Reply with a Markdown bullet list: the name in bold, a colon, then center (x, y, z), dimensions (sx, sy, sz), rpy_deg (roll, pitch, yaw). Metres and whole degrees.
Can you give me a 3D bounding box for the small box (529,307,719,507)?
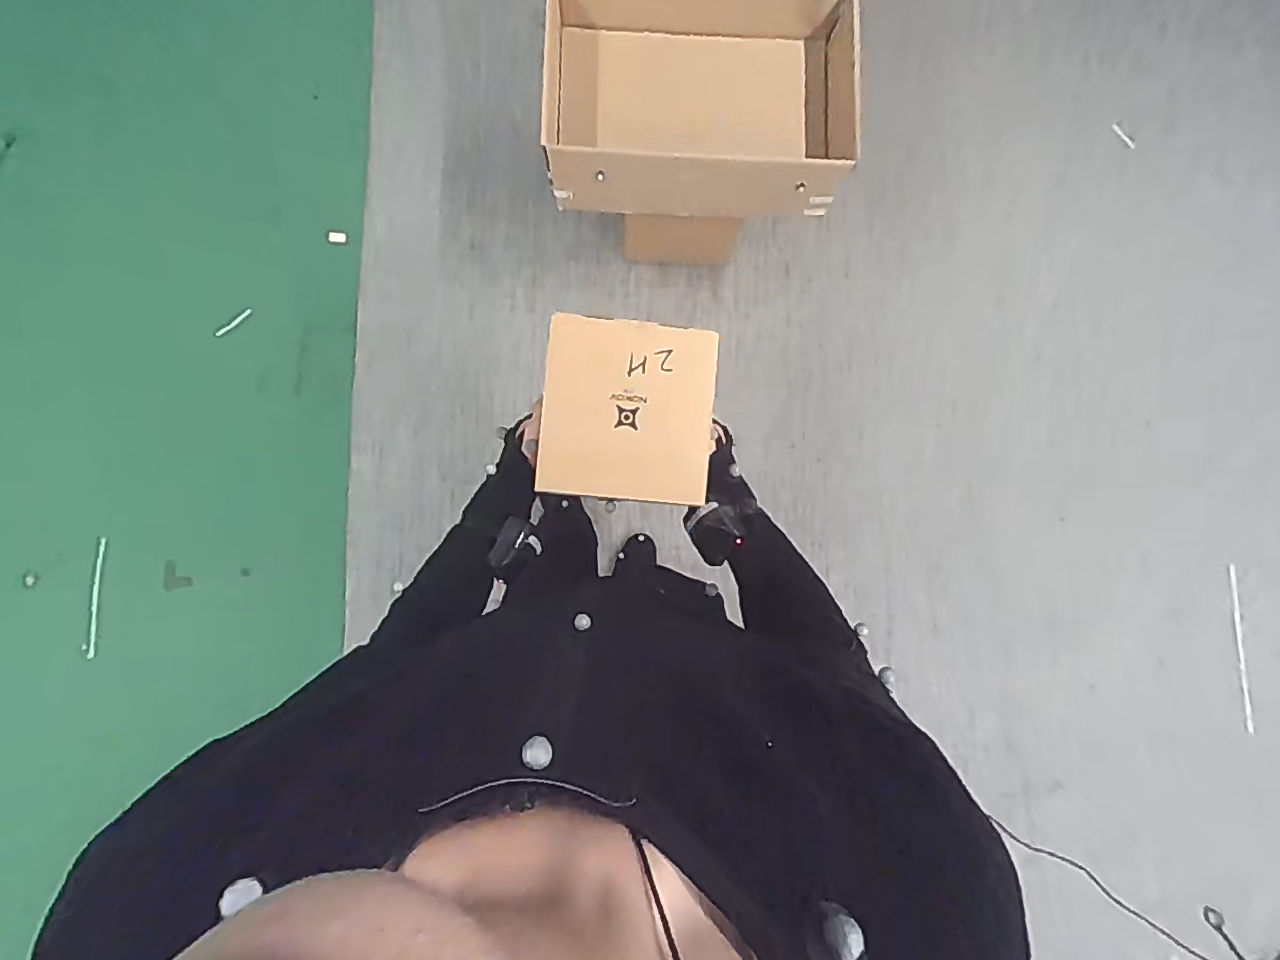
- **small box**: center (-0.019, -0.064, 0.588), dimensions (0.168, 0.176, 0.179), rpy_deg (6, 85, -5)
